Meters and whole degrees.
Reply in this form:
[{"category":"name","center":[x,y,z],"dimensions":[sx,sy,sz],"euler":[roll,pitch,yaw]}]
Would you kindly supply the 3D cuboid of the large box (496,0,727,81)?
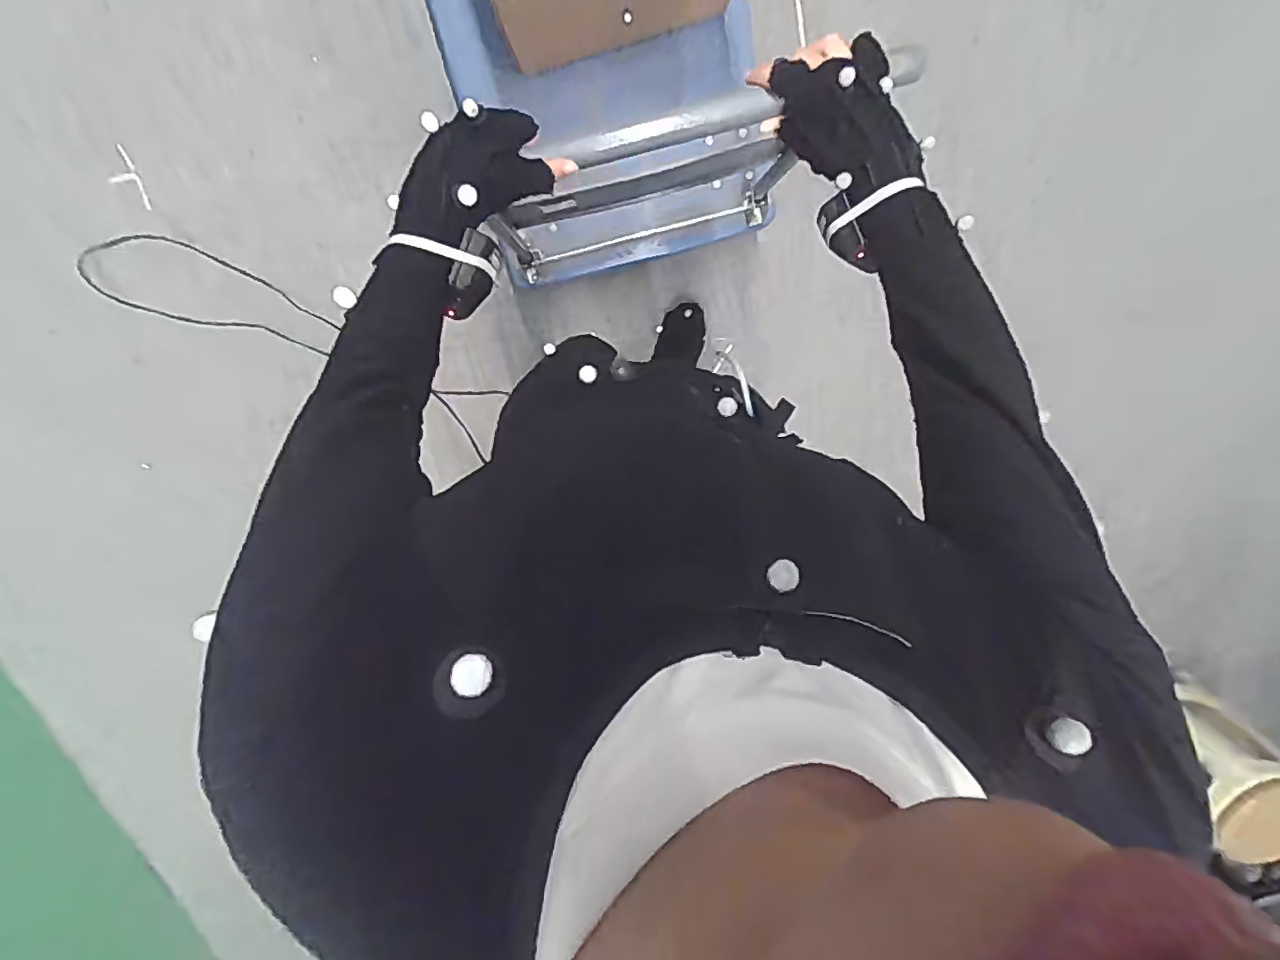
[{"category":"large box","center":[-0.065,-0.921,0.858],"dimensions":[0.408,0.320,0.320],"euler":[-17,108,3]}]
